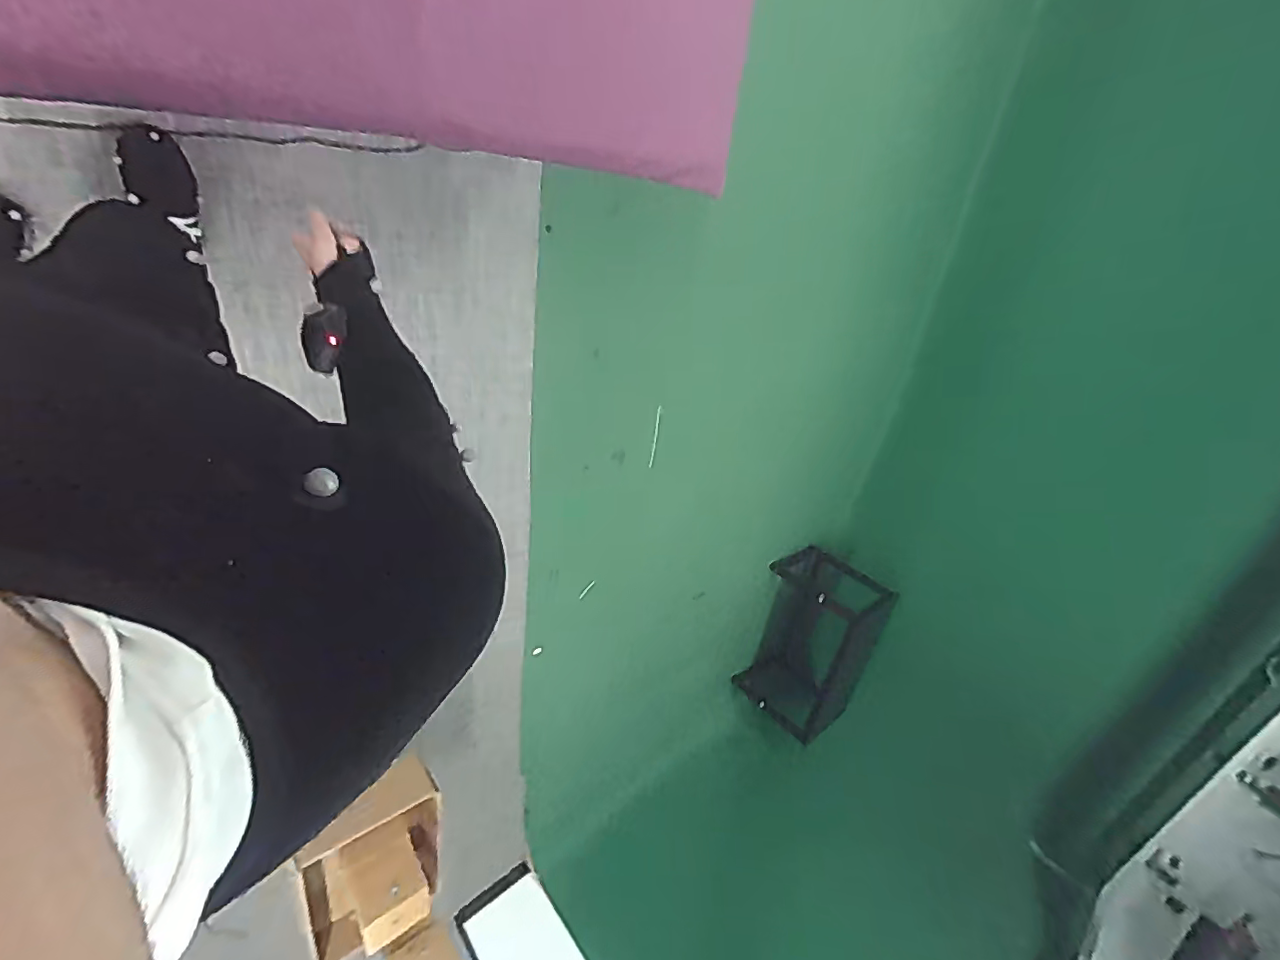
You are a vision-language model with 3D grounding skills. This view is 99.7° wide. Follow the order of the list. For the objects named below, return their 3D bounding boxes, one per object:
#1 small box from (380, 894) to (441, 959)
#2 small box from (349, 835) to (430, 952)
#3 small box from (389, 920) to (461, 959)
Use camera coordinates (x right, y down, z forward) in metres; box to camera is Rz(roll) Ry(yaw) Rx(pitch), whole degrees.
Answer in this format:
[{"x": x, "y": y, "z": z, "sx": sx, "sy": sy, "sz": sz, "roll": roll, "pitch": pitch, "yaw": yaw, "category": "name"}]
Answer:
[{"x": -0.740, "y": 1.418, "z": 1.719, "sx": 0.168, "sy": 0.176, "sz": 0.179, "roll": -19, "pitch": 127, "yaw": -36, "category": "small box"}, {"x": -0.732, "y": 1.195, "z": 1.574, "sx": 0.179, "sy": 0.176, "sz": 0.168, "roll": -16, "pitch": 128, "yaw": -39, "category": "small box"}, {"x": -0.632, "y": 1.473, "z": 1.605, "sx": 0.168, "sy": 0.176, "sz": 0.179, "roll": -12, "pitch": 123, "yaw": -41, "category": "small box"}]
